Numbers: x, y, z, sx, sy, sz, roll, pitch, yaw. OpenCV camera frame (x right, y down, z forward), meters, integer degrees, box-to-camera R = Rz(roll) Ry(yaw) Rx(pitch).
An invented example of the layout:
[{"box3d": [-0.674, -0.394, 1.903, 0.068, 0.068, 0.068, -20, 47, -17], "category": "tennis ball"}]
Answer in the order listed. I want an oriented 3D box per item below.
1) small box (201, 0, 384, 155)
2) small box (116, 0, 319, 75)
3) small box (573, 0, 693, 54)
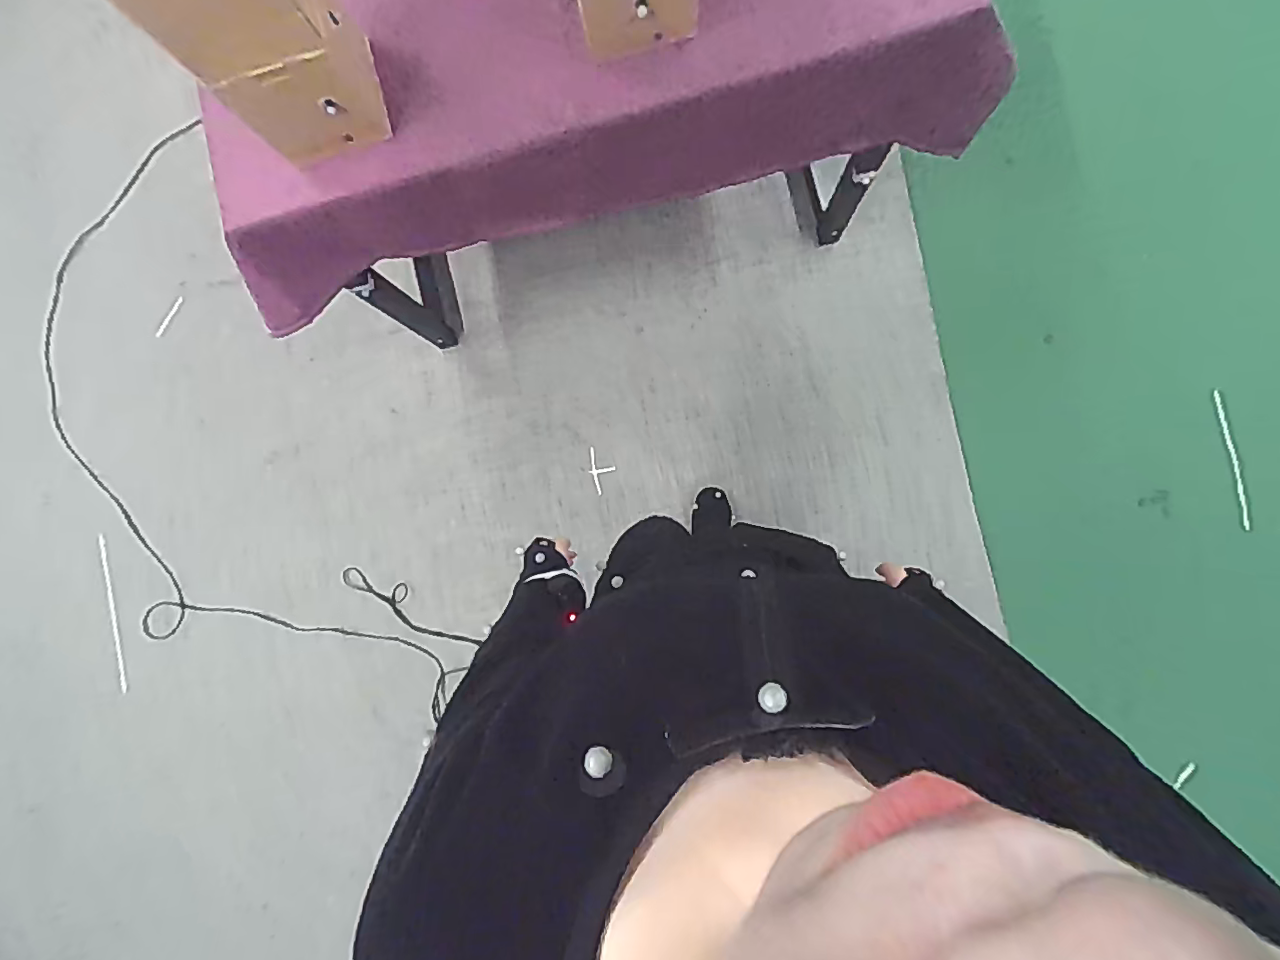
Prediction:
[{"box3d": [-0.493, -0.601, 0.769, 0.168, 0.176, 0.179, -15, 86, 2], "category": "small box"}, {"box3d": [-0.508, -0.608, 0.607, 0.179, 0.176, 0.168, -17, 86, 1], "category": "small box"}, {"box3d": [-0.022, -0.735, 0.742, 0.168, 0.176, 0.179, -14, 87, 3], "category": "small box"}]
